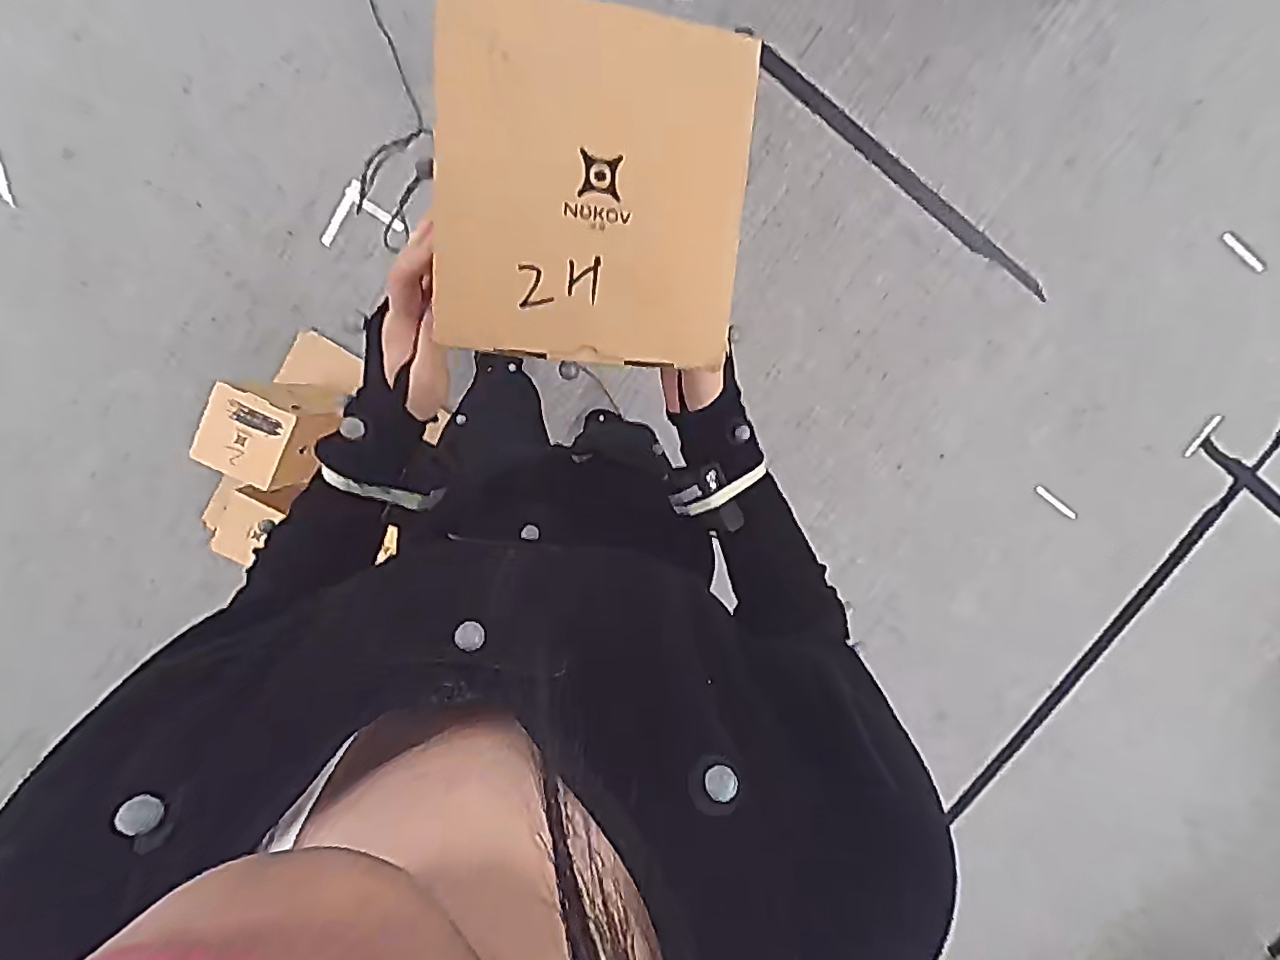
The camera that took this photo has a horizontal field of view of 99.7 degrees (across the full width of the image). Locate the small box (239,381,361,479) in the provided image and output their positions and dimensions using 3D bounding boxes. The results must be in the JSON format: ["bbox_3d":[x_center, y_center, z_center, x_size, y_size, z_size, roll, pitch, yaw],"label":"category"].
[{"bbox_3d":[-0.815,-0.127,1.319,0.168,0.176,0.179,28,98,-7],"label":"small box"}]

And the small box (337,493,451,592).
[{"bbox_3d":[-0.617,0.150,1.379,0.179,0.176,0.168,36,96,-10],"label":"small box"}]

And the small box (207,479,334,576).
[{"bbox_3d":[-0.919,0.109,1.358,0.179,0.176,0.168,27,99,-8],"label":"small box"}]

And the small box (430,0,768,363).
[{"bbox_3d":[-0.037,-0.175,0.354,0.168,0.176,0.179,3,103,-12],"label":"small box"}]
